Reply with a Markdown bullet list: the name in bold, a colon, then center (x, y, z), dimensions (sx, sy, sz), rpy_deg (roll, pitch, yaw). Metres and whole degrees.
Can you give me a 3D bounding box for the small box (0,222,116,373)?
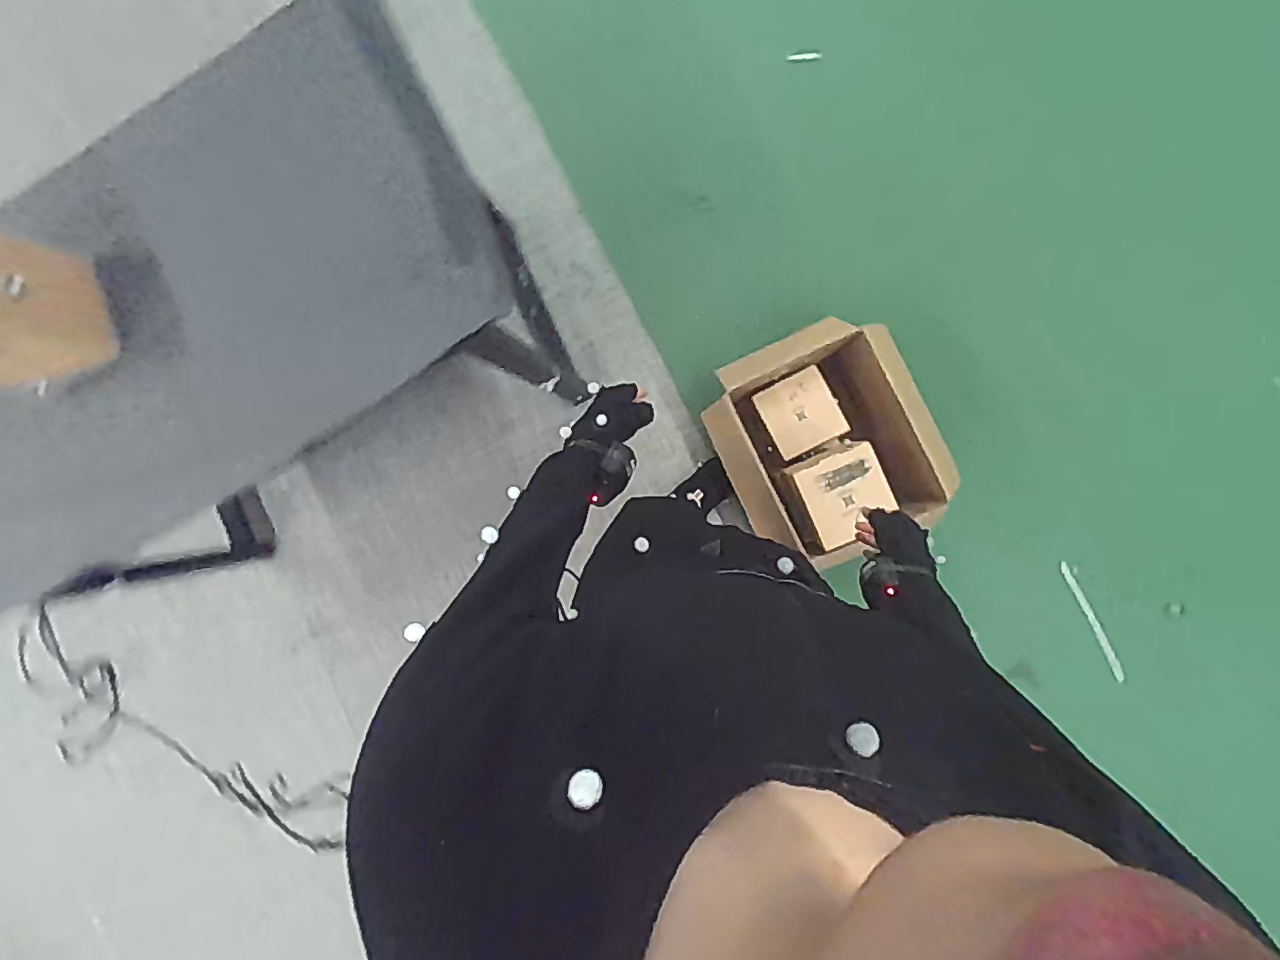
- **small box**: center (-0.963, -0.275, 0.822), dimensions (0.168, 0.176, 0.179), rpy_deg (-21, 87, 8)
